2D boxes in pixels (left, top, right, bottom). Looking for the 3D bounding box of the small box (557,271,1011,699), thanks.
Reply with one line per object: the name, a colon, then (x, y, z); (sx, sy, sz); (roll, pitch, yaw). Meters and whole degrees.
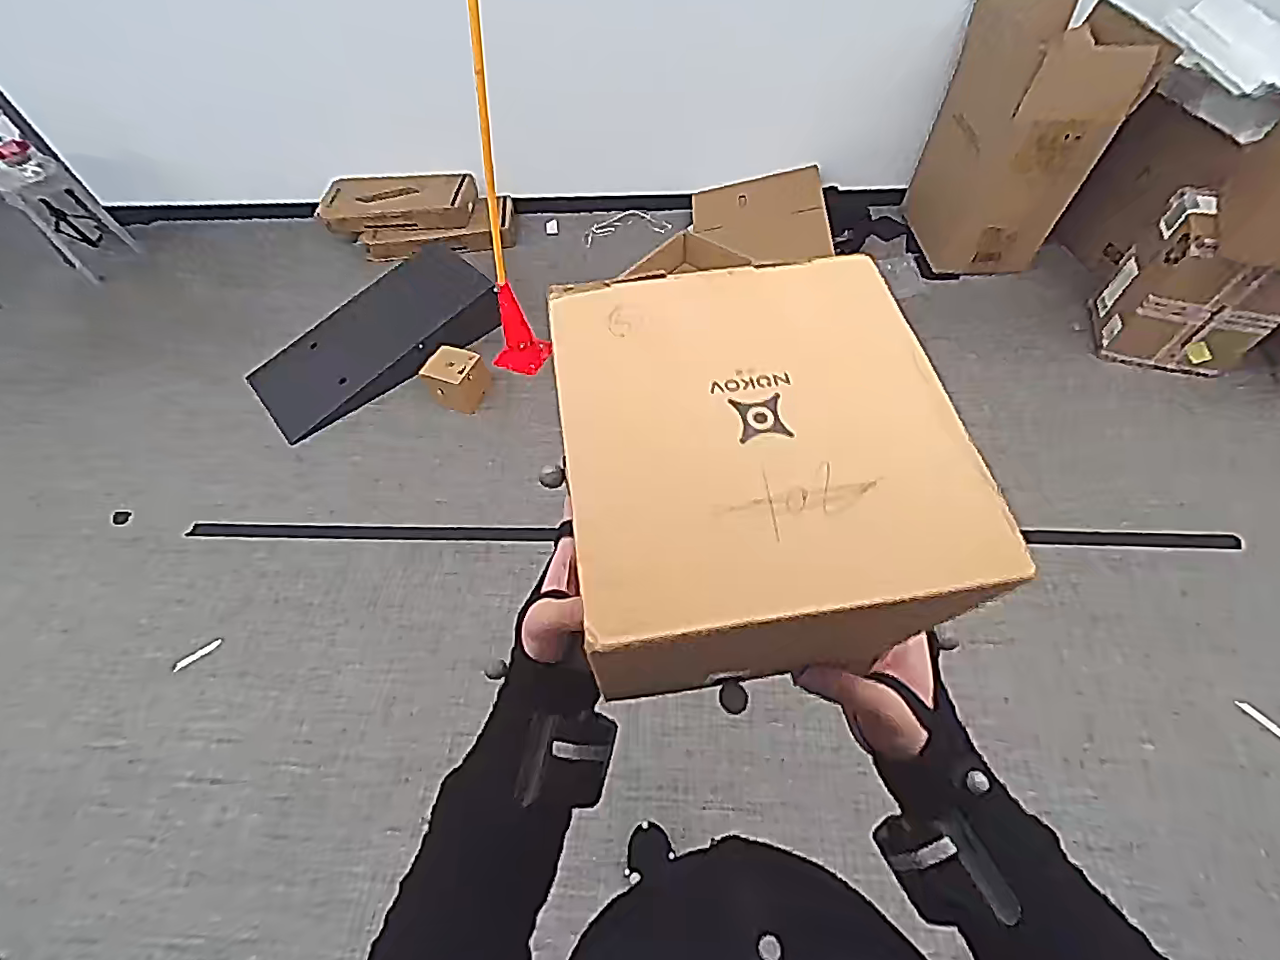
small box: (0.048, 0.012, 0.310); (0.168, 0.176, 0.179); (-9, 63, -5)
